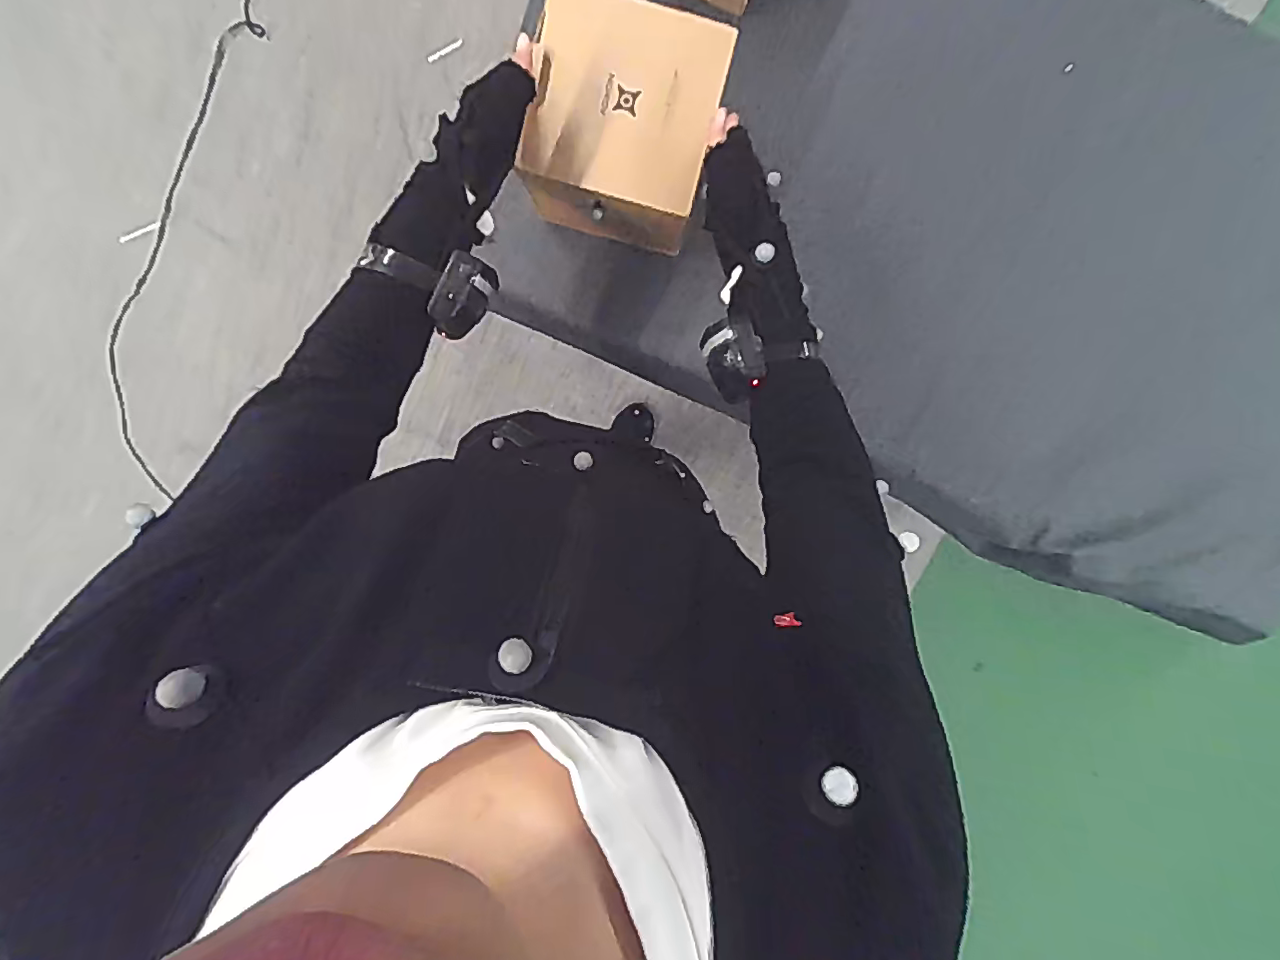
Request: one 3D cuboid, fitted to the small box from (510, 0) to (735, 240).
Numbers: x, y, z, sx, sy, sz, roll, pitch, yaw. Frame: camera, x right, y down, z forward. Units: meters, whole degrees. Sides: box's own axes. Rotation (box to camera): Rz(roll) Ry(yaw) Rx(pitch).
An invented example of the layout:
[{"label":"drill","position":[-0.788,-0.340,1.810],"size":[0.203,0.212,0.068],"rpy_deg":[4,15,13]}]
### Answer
[{"label":"small box","position":[-0.019,-0.373,0.572],"size":[0.179,0.176,0.168],"rpy_deg":[14,101,-4]}]
